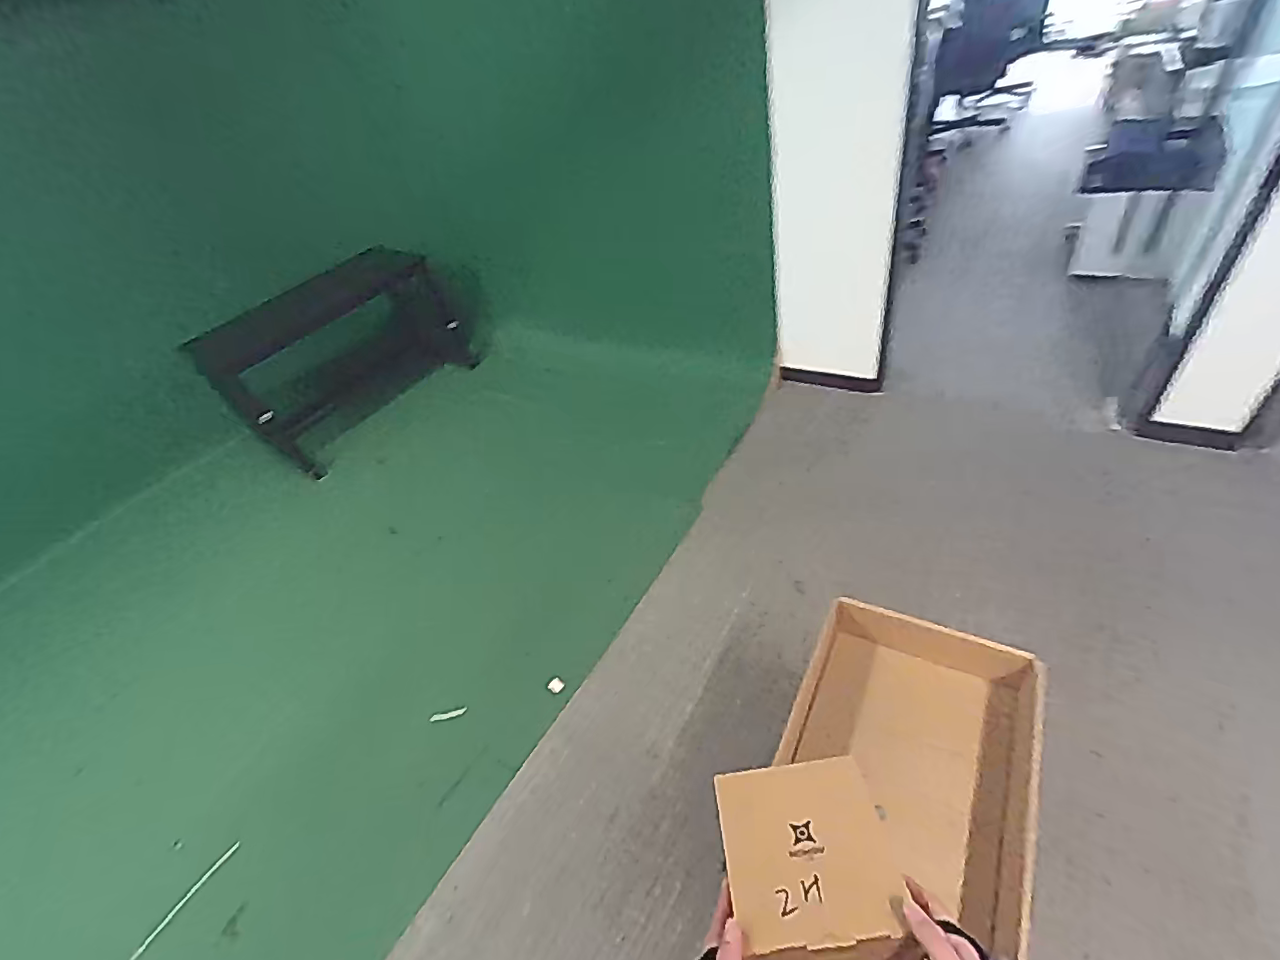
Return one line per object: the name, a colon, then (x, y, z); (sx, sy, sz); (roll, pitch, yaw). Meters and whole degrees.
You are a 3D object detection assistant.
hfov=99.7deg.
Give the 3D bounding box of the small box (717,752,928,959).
small box: (0.185, 0.435, 0.586); (0.168, 0.176, 0.179); (-12, 27, 4)
